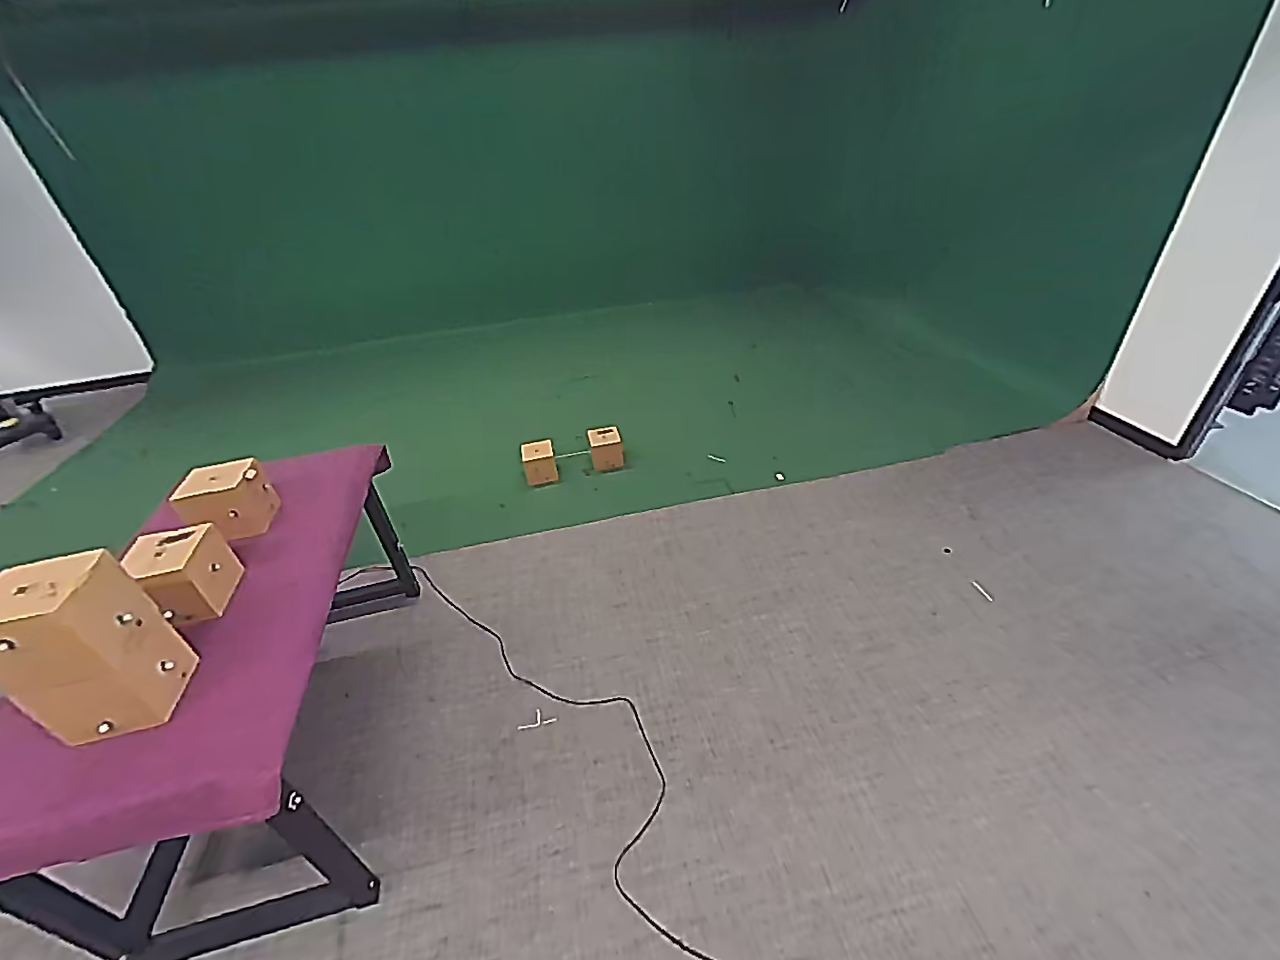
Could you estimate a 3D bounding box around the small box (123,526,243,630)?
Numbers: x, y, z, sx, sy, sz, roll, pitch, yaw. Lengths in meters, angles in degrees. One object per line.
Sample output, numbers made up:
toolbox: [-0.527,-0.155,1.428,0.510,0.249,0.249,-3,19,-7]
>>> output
small box: [-1.120,0.243,1.326,0.168,0.176,0.179,-12,36,-9]

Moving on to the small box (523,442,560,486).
small box: [-0.543,-0.082,2.969,0.168,0.176,0.179,-12,35,-8]

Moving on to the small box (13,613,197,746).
small box: [-1.054,0.401,1.091,0.179,0.176,0.168,-12,34,-9]

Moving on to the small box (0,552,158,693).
small box: [-1.066,0.265,0.999,0.179,0.176,0.168,-12,36,-9]

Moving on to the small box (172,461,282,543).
small box: [-1.196,0.070,1.585,0.179,0.176,0.168,-12,35,-8]
